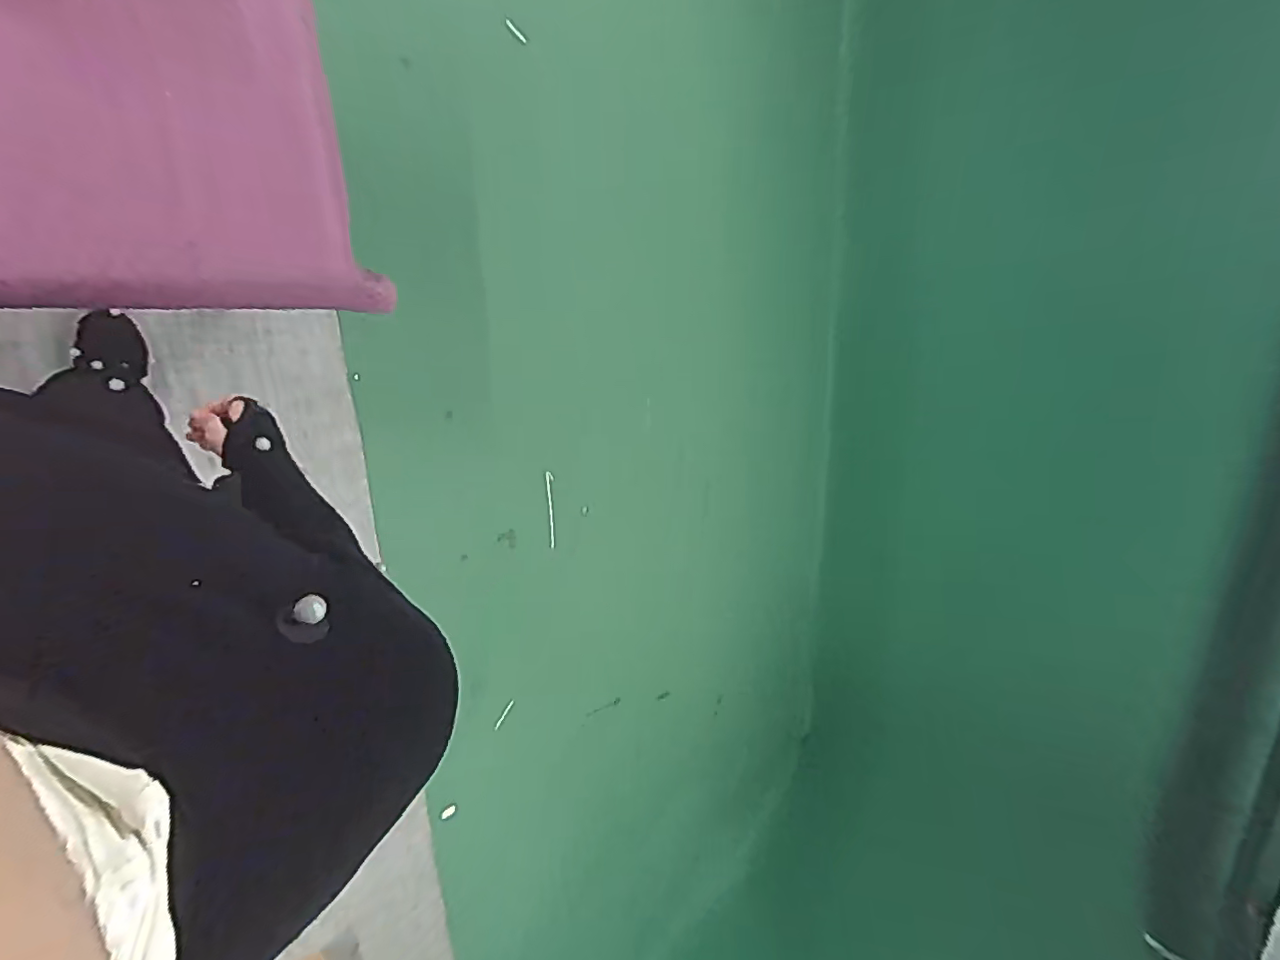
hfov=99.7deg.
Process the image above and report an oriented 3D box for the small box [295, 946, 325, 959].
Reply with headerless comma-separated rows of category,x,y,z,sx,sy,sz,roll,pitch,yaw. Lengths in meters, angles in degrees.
small box,-1.024,1.573,1.621,0.179,0.176,0.168,-15,110,-46
